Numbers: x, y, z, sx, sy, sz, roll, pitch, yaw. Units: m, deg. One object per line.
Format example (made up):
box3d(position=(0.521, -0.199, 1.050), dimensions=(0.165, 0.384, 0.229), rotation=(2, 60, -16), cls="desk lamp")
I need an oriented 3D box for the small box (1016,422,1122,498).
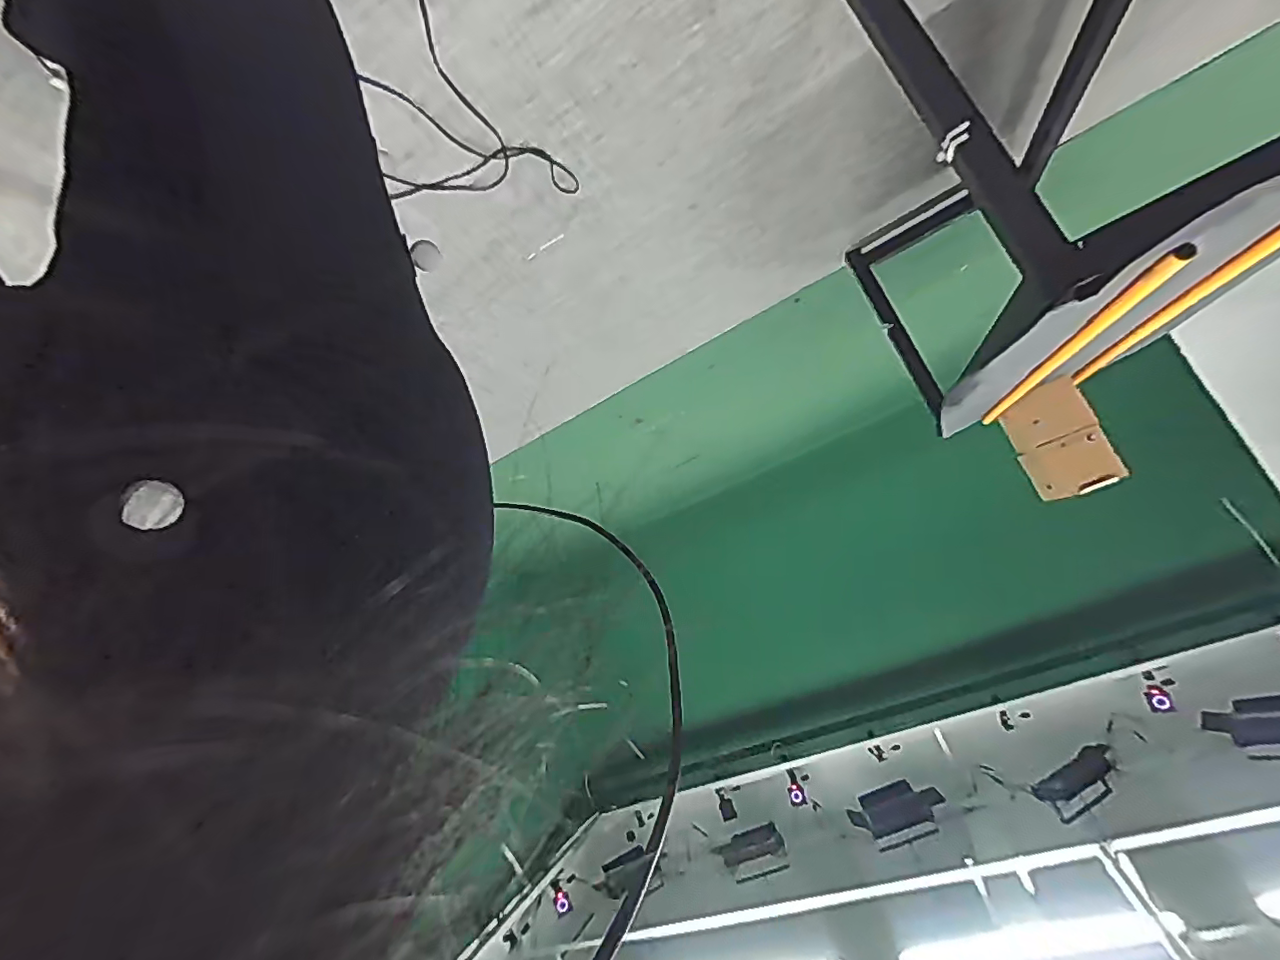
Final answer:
box3d(position=(1.288, -0.061, 1.642), dimensions=(0.168, 0.176, 0.179), rotation=(-24, 167, 13), cls="small box")
